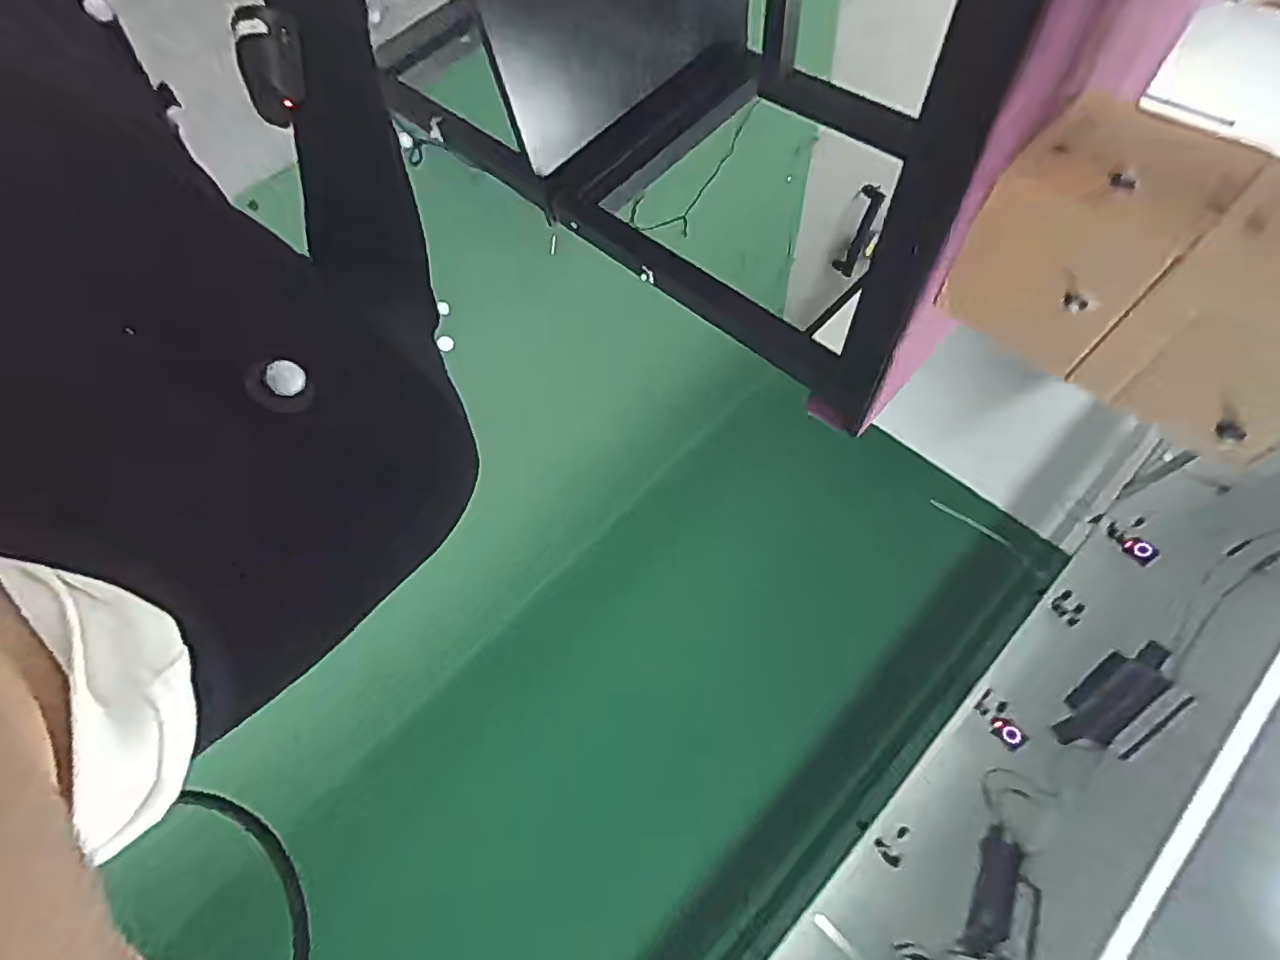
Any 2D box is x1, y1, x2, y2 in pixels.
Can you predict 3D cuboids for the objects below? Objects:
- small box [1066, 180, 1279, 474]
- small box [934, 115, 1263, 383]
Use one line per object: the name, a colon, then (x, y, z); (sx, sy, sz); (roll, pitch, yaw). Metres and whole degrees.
small box: (0.559, -0.145, 0.502); (0.168, 0.176, 0.179); (-40, 157, -15)
small box: (0.448, -0.244, 0.565); (0.168, 0.176, 0.179); (-41, 157, -14)
